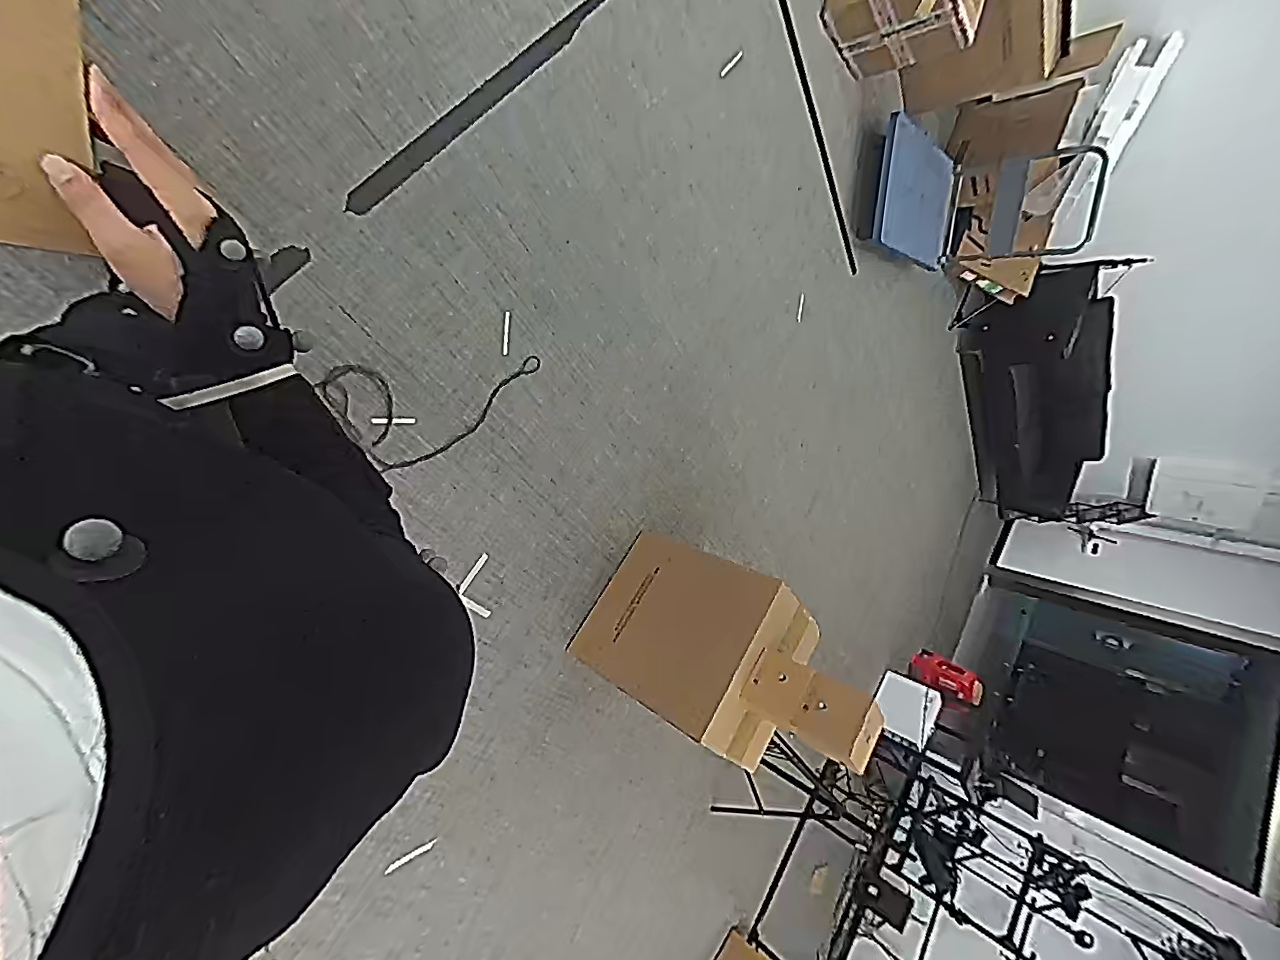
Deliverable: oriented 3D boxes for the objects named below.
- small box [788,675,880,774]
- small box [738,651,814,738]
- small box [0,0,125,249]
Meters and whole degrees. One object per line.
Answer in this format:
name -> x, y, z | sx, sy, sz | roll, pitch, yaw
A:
small box -> 0.534, 0.667, 1.488 | 0.168, 0.176, 0.179 | -55, 133, -22
small box -> 0.415, 0.631, 1.597 | 0.168, 0.176, 0.179 | -56, 134, -20
small box -> -0.409, -0.239, 0.296 | 0.168, 0.176, 0.179 | -7, 113, -46
